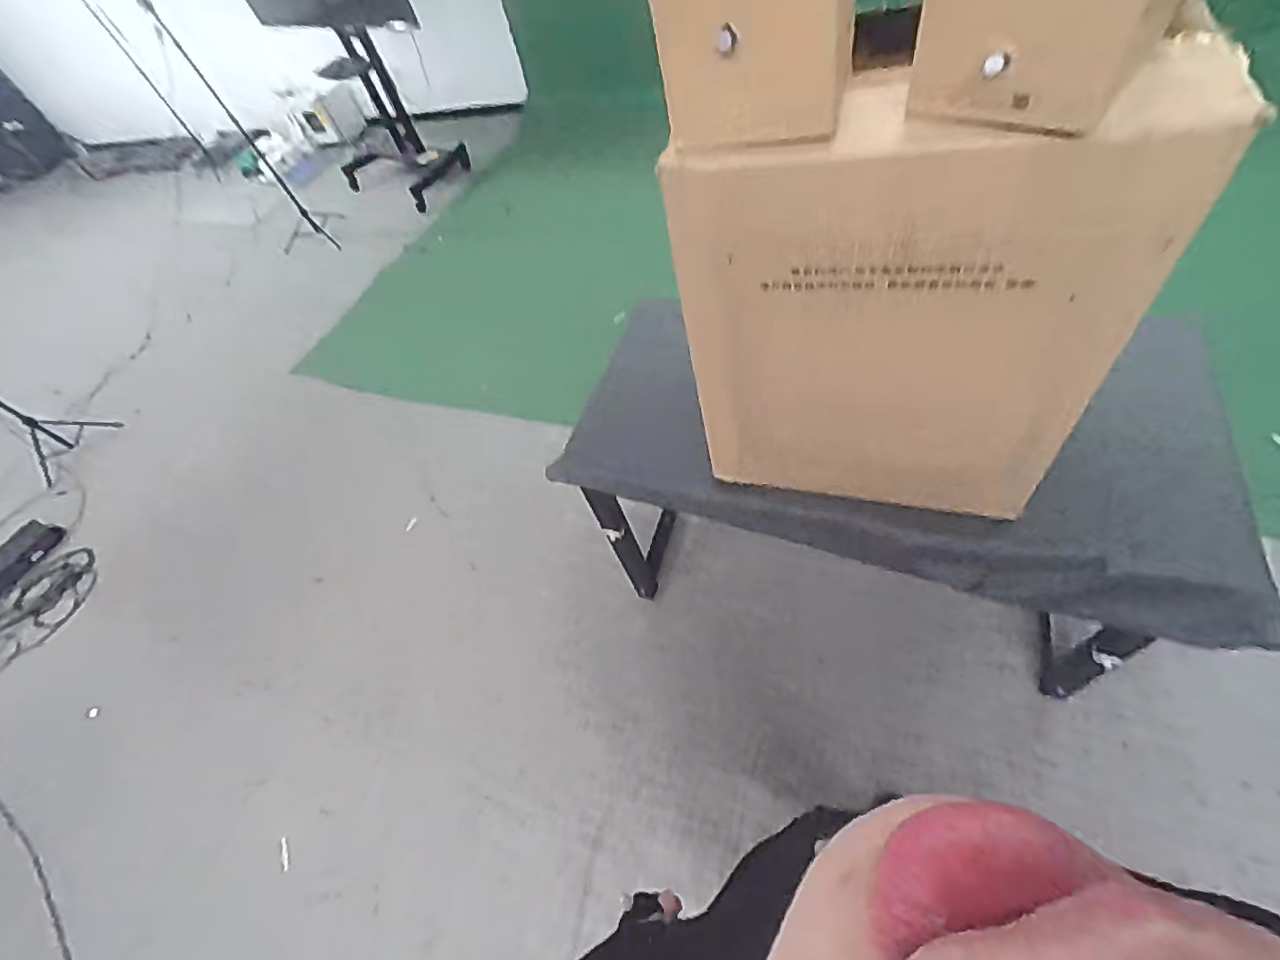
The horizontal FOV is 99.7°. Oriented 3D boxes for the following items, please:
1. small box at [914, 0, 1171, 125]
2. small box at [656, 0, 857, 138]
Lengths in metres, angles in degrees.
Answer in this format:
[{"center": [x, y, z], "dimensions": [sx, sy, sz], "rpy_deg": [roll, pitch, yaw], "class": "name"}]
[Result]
[{"center": [0.366, -0.449, 0.471], "dimensions": [0.168, 0.176, 0.179], "rpy_deg": [32, 69, 31], "class": "small box"}, {"center": [0.126, -0.485, 0.564], "dimensions": [0.179, 0.176, 0.168], "rpy_deg": [7, 59, 22], "class": "small box"}]
